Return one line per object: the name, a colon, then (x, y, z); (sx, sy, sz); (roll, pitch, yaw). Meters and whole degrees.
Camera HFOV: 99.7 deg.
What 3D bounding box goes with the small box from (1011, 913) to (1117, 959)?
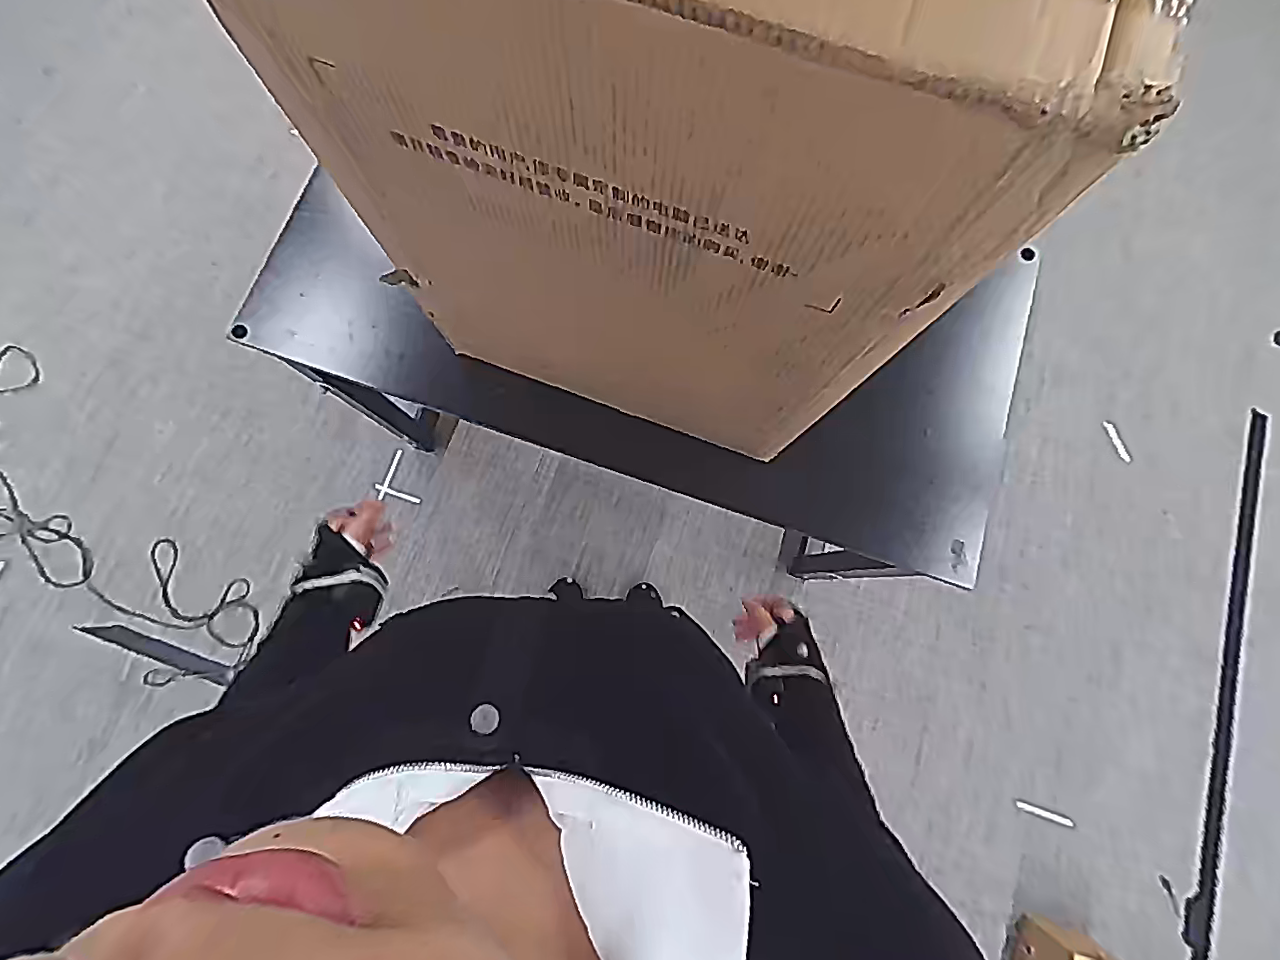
small box: (1.036, 1.190, 1.292); (0.179, 0.176, 0.168); (19, 78, 3)
